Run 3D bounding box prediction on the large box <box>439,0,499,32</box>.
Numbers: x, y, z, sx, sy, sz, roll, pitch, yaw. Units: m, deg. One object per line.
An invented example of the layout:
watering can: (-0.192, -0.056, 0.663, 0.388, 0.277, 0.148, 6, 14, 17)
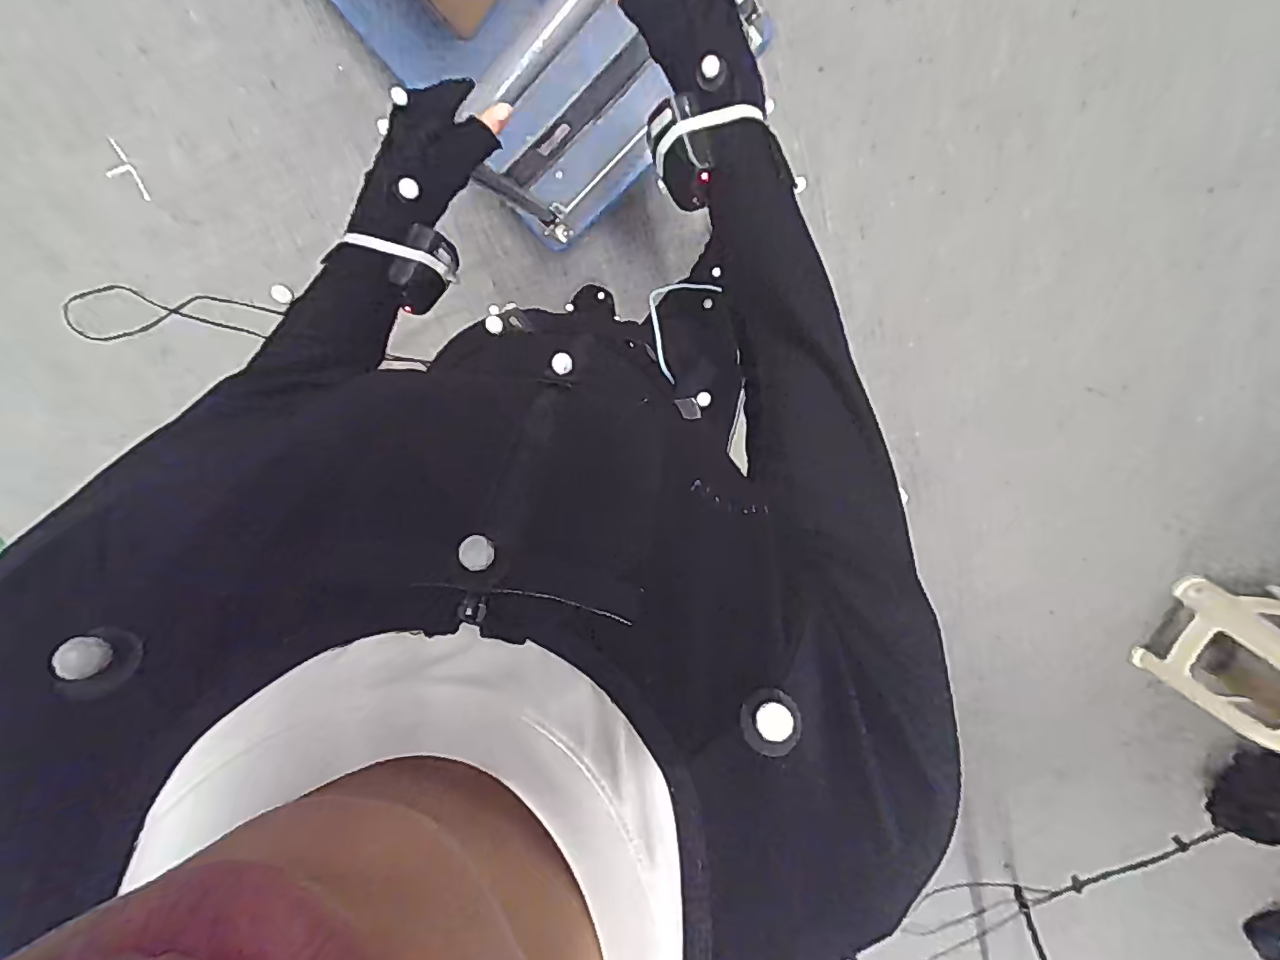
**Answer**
large box: (-0.270, -0.977, 0.755, 0.408, 0.320, 0.320, -42, 107, 17)
